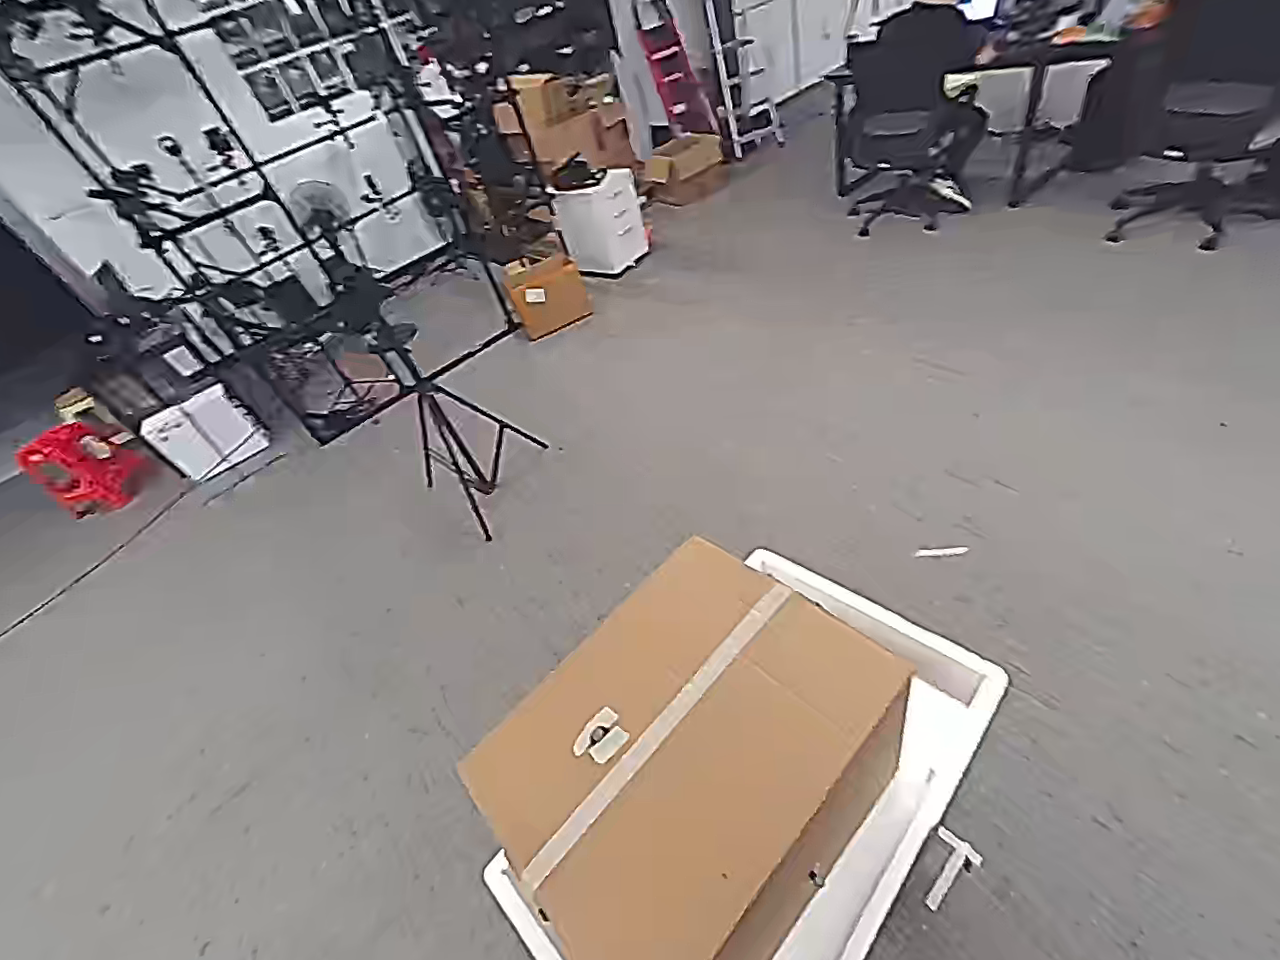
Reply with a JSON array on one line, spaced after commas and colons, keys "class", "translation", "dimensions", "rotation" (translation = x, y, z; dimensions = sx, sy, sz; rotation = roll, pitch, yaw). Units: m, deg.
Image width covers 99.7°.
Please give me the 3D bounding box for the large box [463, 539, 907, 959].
[{"class": "large box", "translation": [0.079, 0.359, 0.672], "dimensions": [0.408, 0.320, 0.320], "rotation": [-43, 45, -21]}]
